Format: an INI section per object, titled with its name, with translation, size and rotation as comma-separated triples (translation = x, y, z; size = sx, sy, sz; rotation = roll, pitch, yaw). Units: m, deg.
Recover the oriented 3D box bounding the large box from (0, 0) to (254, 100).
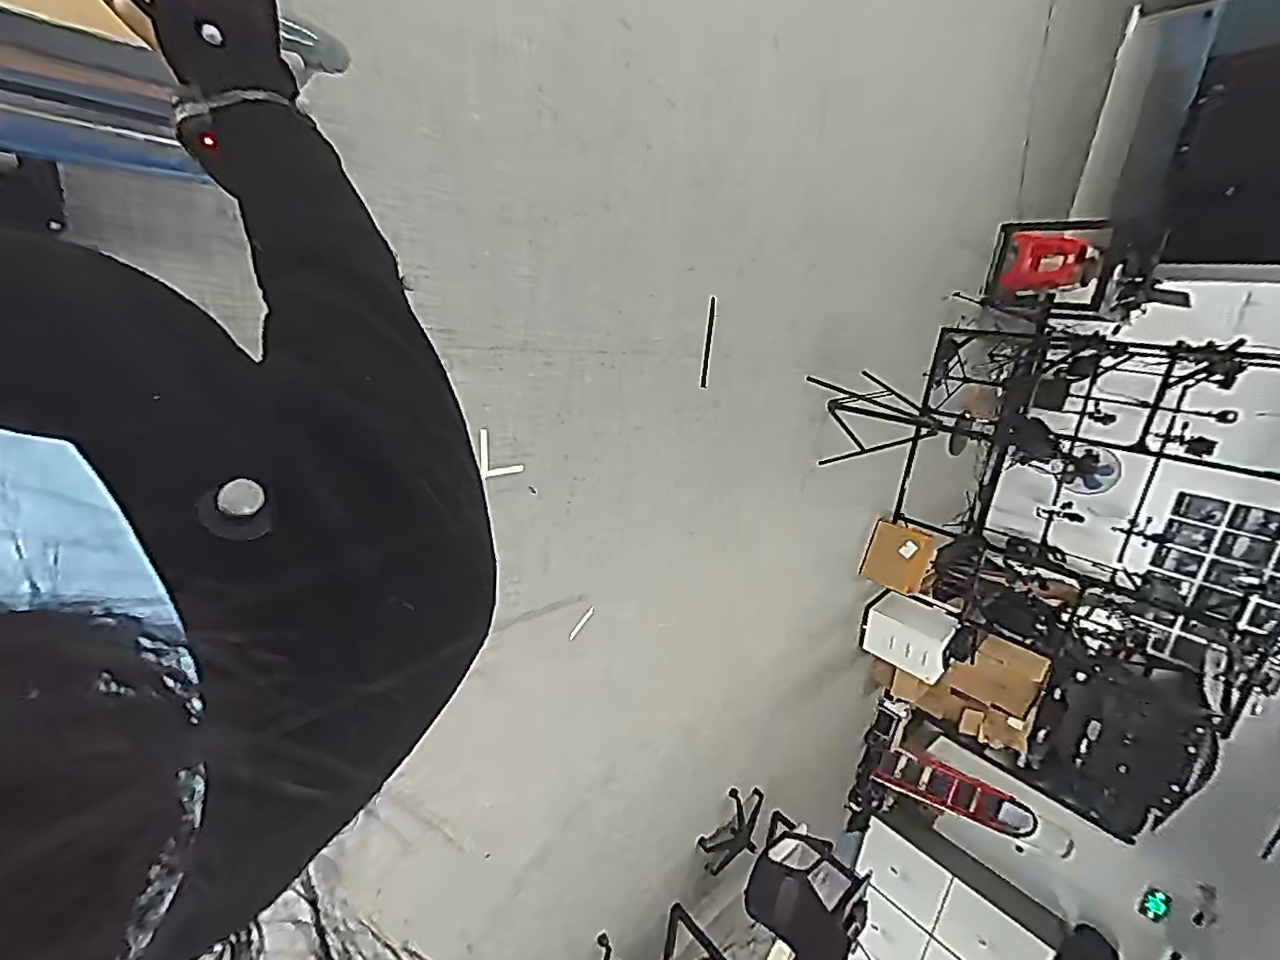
[large box]
translation = -0.777, -0.725, 0.671
size = 0.408, 0.320, 0.320
rotation = -15, 118, -42
